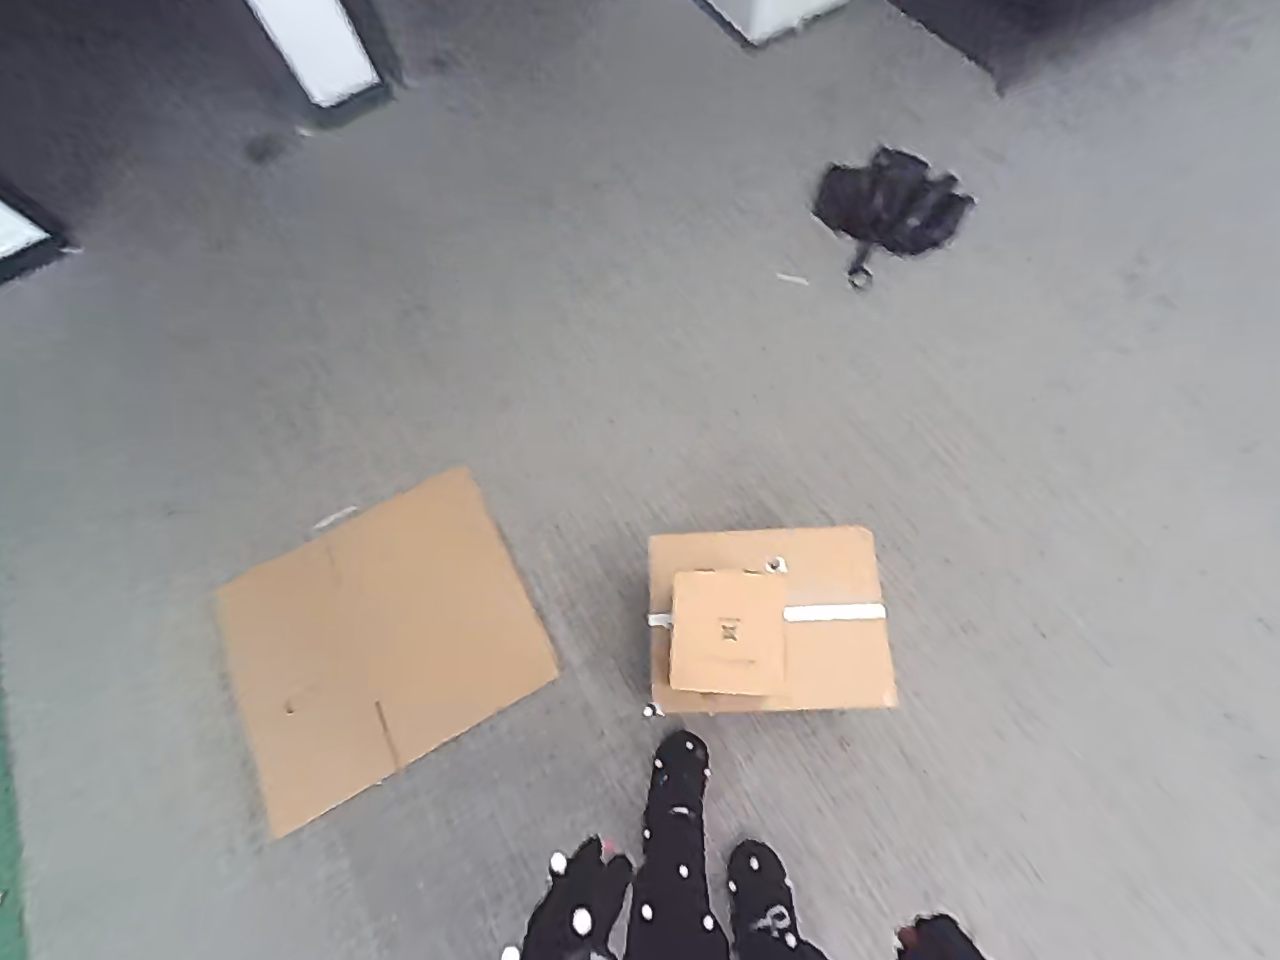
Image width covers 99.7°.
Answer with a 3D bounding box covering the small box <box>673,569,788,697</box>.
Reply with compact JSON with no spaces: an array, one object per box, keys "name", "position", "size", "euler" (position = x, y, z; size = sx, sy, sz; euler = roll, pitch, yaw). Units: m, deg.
[{"name":"small box","position":[0.141,0.247,0.869],"size":[0.168,0.176,0.179],"euler":[1,72,7]}]
